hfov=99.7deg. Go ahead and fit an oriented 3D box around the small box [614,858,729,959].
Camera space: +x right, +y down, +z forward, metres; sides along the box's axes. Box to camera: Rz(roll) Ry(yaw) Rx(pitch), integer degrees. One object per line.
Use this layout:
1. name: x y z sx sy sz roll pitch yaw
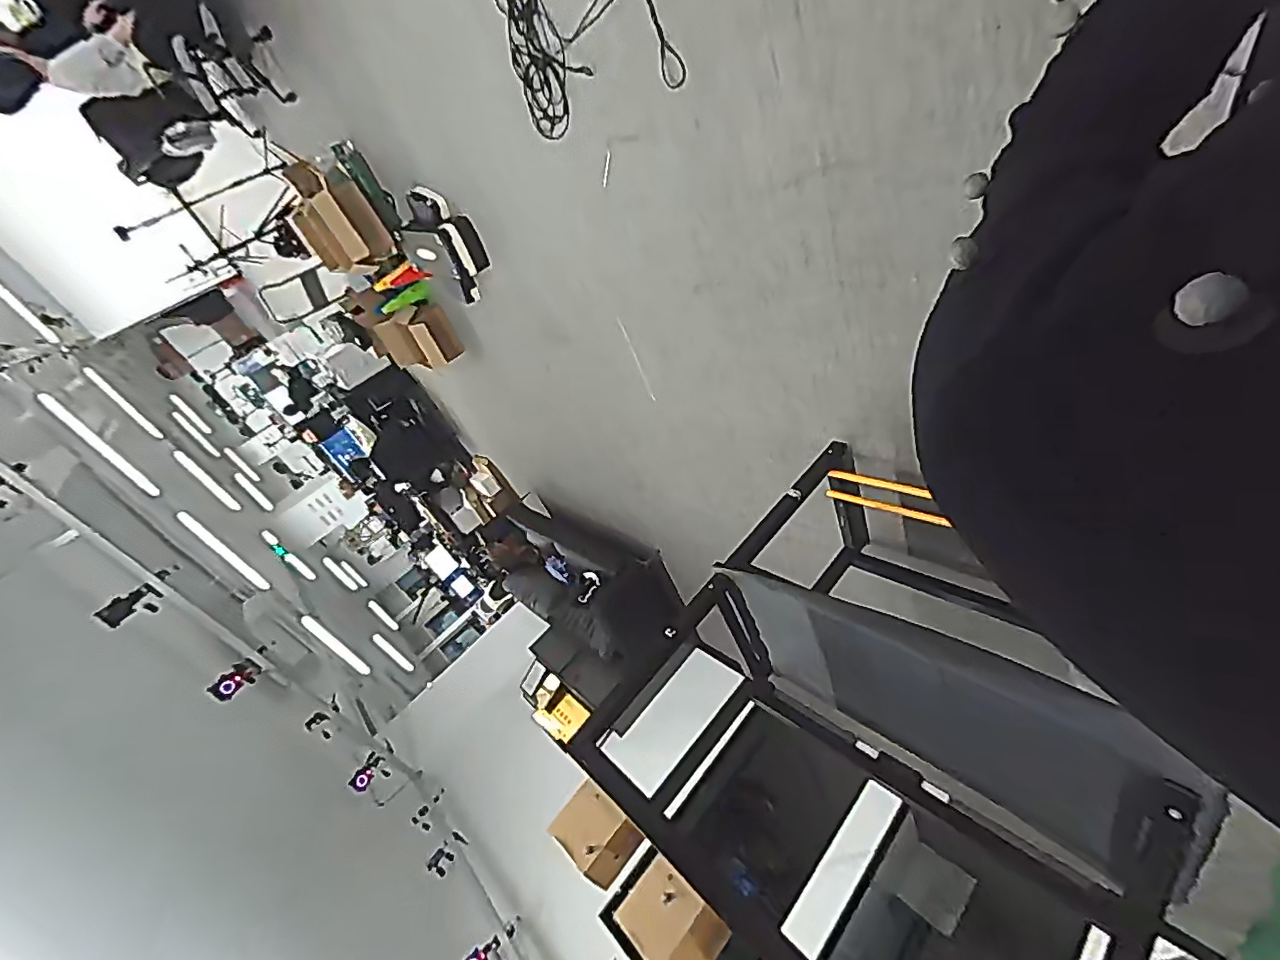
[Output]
1. small box: 0.078 1.030 1.247 0.168 0.176 0.179 13 139 51
